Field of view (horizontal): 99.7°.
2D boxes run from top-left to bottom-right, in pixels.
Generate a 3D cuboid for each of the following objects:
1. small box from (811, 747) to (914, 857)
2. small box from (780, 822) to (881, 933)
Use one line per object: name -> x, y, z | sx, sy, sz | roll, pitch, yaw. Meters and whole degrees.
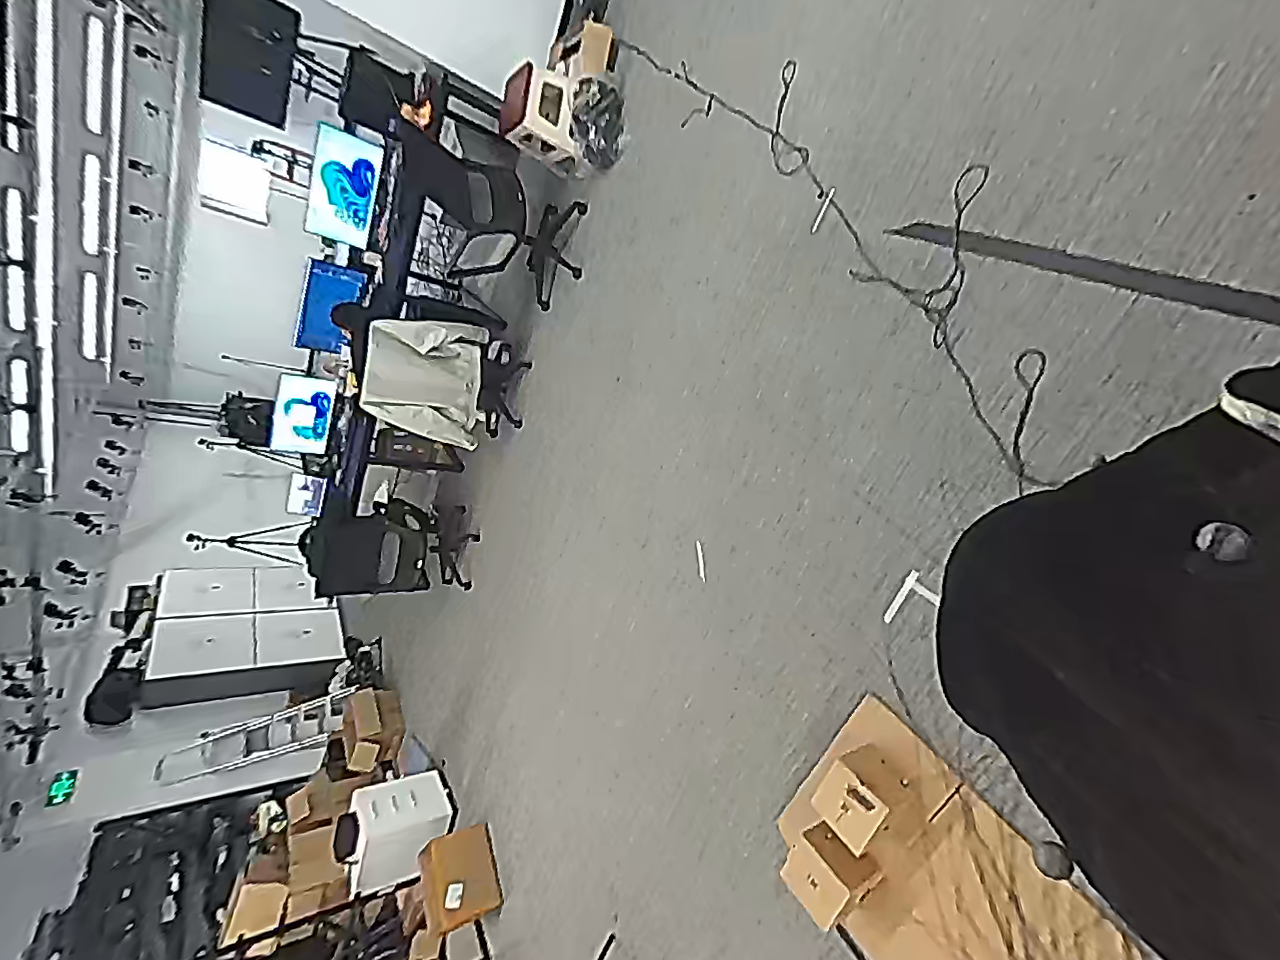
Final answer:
small box -> 0.605, 0.858, 1.461 | 0.168, 0.176, 0.179 | 40, 117, 46
small box -> 0.536, 1.101, 1.522 | 0.179, 0.176, 0.168 | 37, 115, 46
